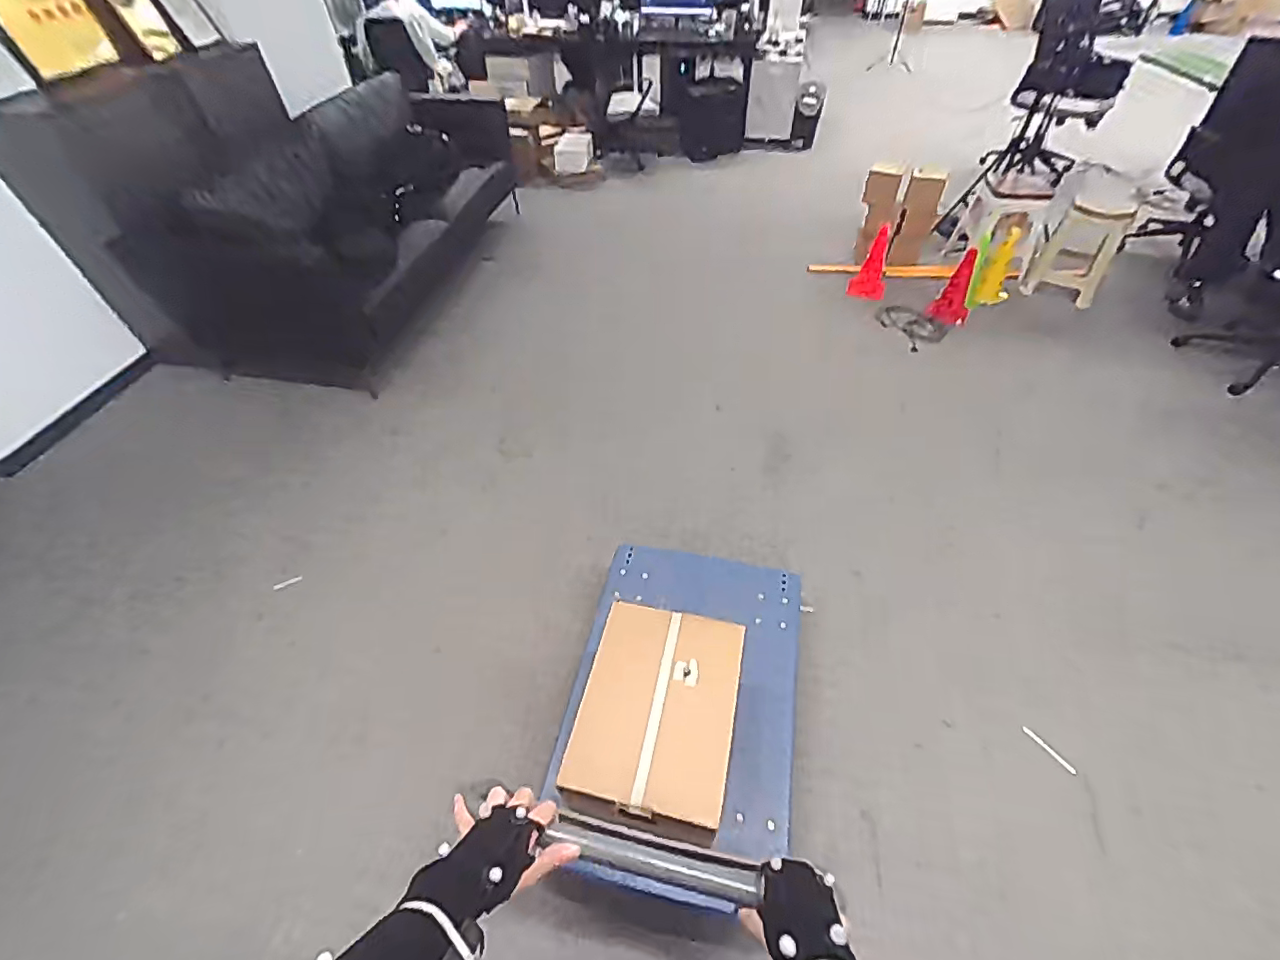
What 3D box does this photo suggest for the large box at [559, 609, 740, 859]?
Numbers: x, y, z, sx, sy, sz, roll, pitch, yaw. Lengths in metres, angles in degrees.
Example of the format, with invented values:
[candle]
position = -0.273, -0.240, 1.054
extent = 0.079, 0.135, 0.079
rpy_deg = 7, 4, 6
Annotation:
[large box]
position = 0.042, 0.567, 1.226
extent = 0.320, 0.320, 0.408
rpy_deg = 9, 47, 10
